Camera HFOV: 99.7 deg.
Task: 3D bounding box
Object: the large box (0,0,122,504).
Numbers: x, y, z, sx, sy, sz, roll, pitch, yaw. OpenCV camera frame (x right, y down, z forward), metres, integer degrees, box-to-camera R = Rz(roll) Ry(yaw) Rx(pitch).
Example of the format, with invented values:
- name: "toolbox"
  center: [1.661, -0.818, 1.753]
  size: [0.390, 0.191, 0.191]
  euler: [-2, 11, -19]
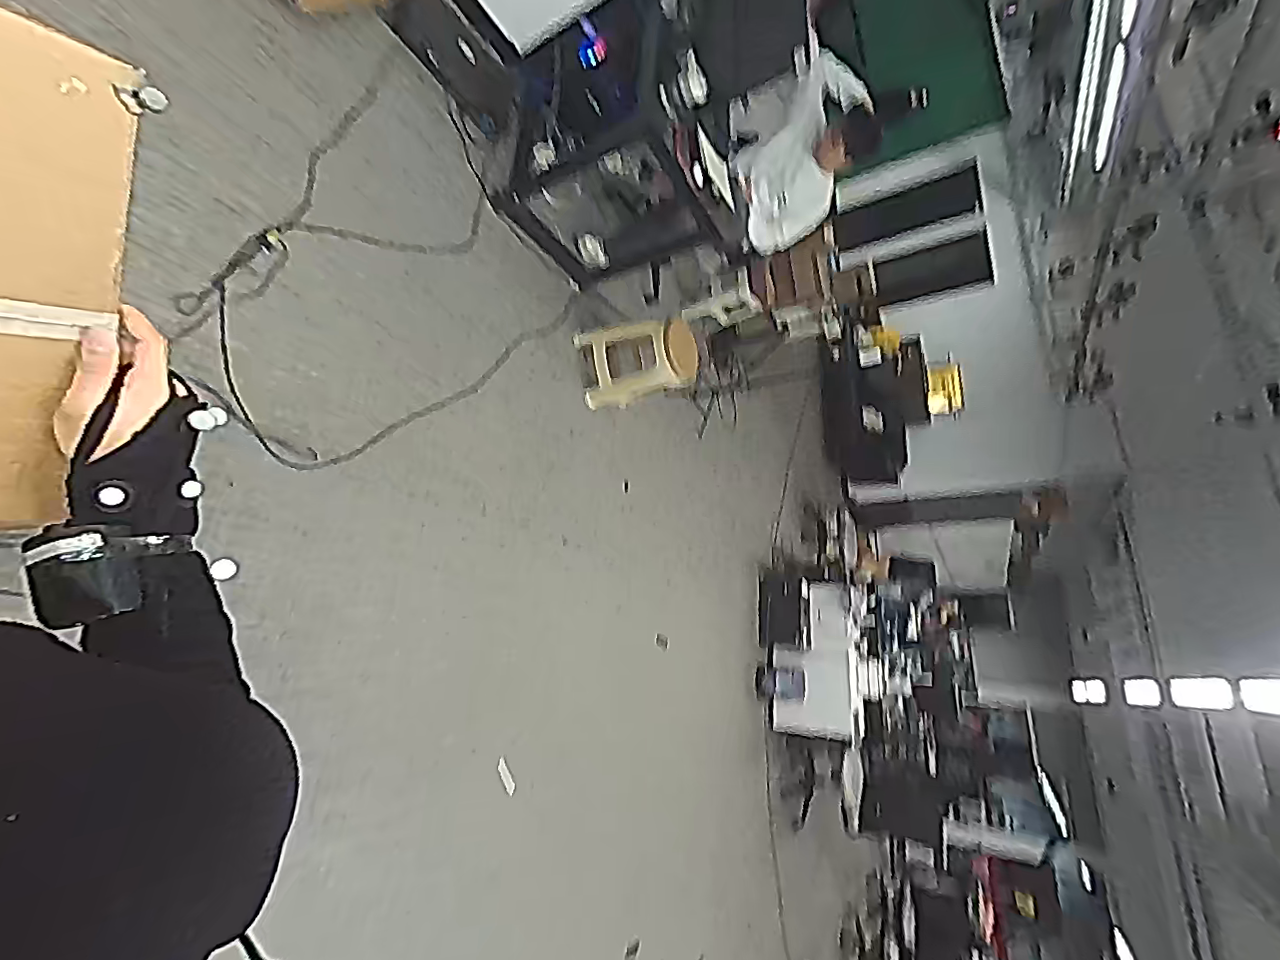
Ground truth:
- name: "large box"
  center: [-0.582, -0.174, 0.264]
  size: [0.408, 0.320, 0.320]
  euler: [-9, 130, -58]
